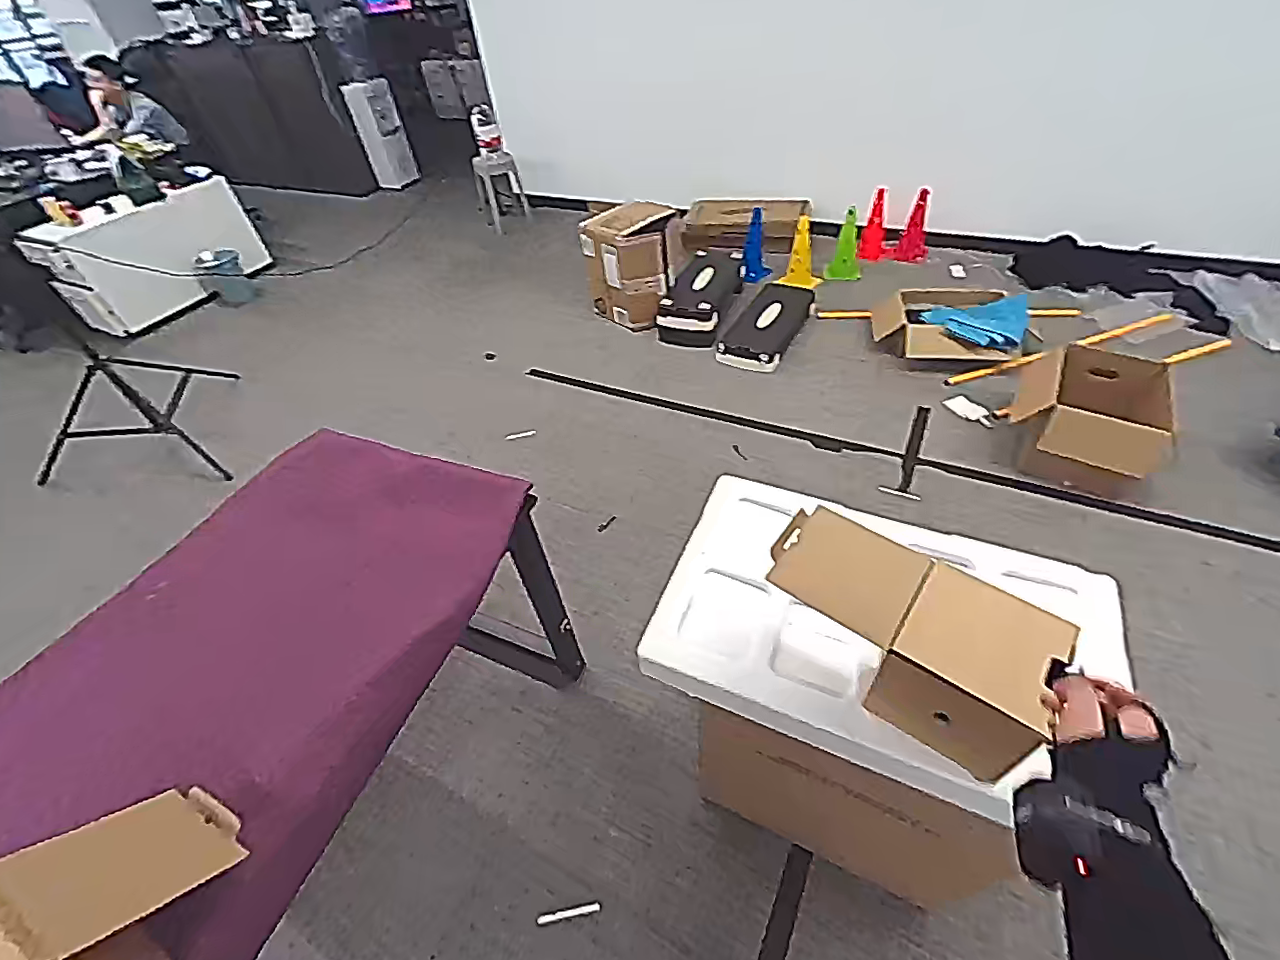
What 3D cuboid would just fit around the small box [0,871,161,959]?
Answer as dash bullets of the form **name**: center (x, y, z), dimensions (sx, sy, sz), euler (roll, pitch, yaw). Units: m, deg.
- **small box**: center (-0.628, 0.529, 0.527), dimensions (0.168, 0.176, 0.179), euler (16, 50, 22)
